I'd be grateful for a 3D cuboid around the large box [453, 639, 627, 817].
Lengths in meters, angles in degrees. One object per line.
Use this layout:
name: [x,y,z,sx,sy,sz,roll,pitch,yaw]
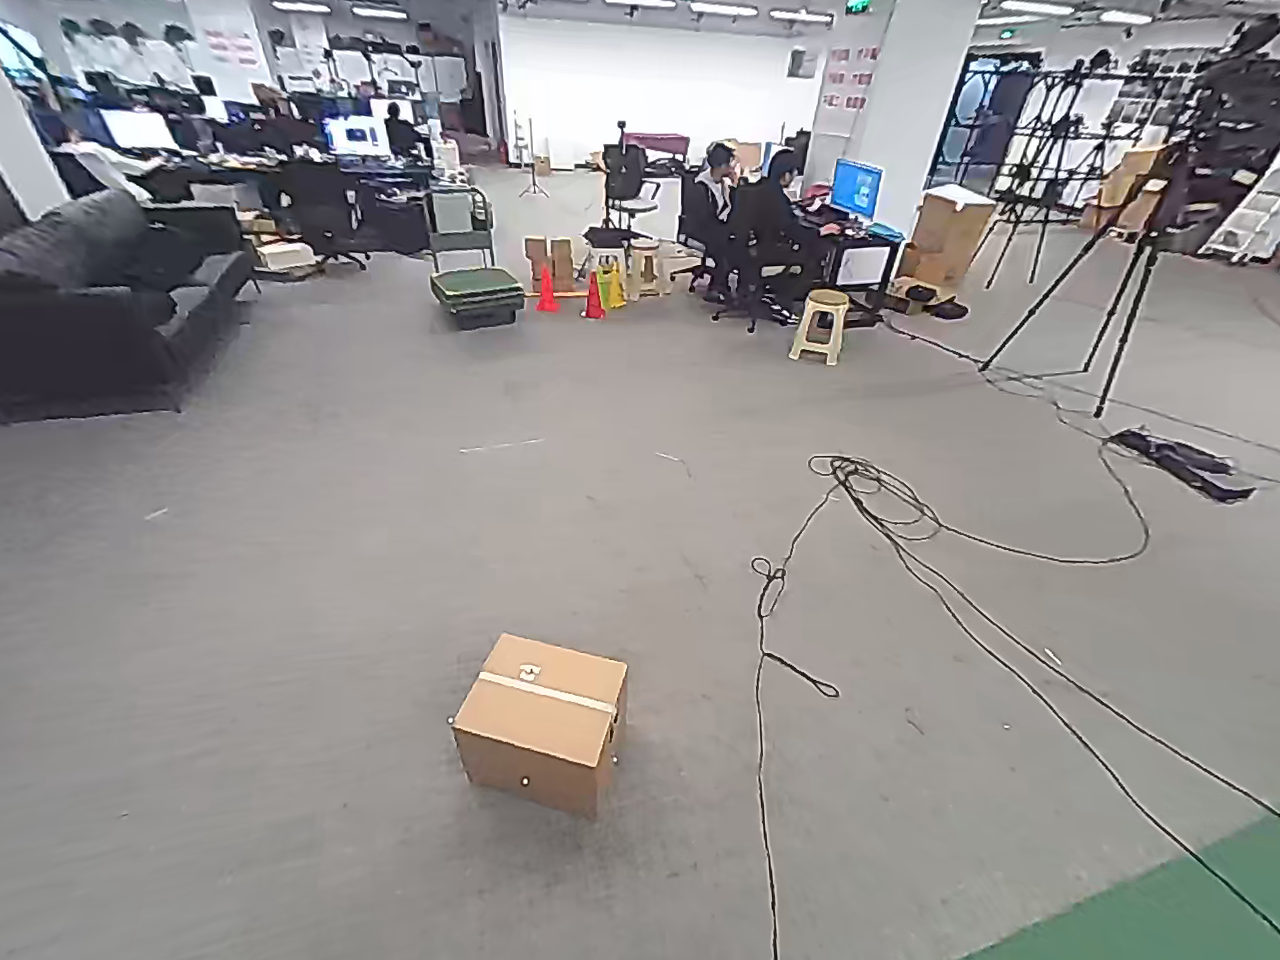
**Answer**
large box: [-0.265,0.722,1.588,0.408,0.320,0.320,10,36,11]
